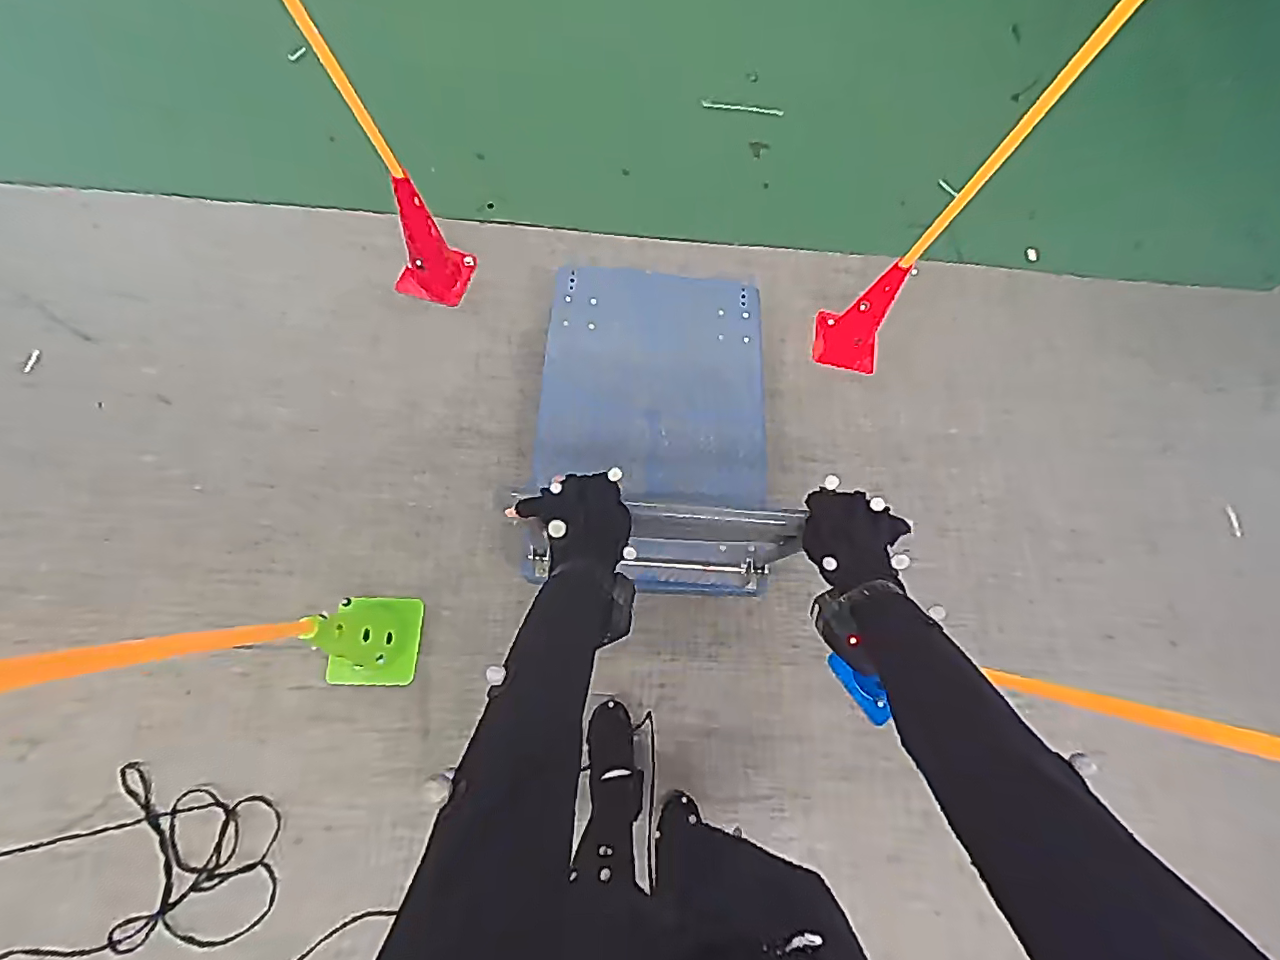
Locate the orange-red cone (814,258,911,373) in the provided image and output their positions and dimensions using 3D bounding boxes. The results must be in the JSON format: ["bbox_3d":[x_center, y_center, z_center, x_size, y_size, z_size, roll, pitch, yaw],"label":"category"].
[{"bbox_3d":[0.668,-0.494,1.553,0.198,0.360,0.199,14,70,1],"label":"orange-red cone"}]
